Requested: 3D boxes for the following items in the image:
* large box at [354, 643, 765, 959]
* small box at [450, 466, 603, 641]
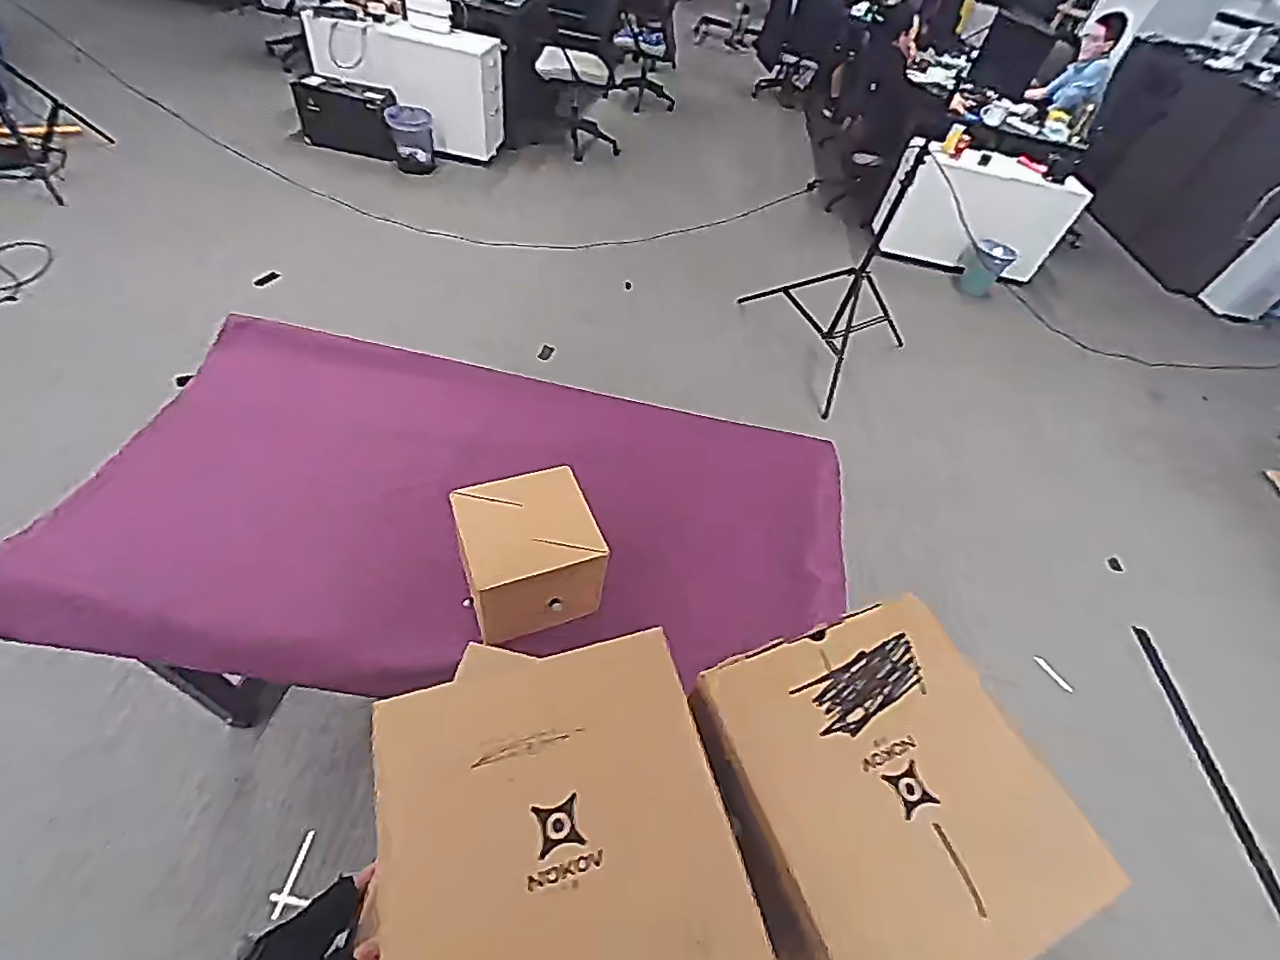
[{"bbox_3d":[0.002,0.390,0.497,0.408,0.320,0.320,13,53,2],"label":"large box"},{"bbox_3d":[-0.163,0.102,0.787,0.179,0.176,0.168,-14,53,-21],"label":"small box"}]
